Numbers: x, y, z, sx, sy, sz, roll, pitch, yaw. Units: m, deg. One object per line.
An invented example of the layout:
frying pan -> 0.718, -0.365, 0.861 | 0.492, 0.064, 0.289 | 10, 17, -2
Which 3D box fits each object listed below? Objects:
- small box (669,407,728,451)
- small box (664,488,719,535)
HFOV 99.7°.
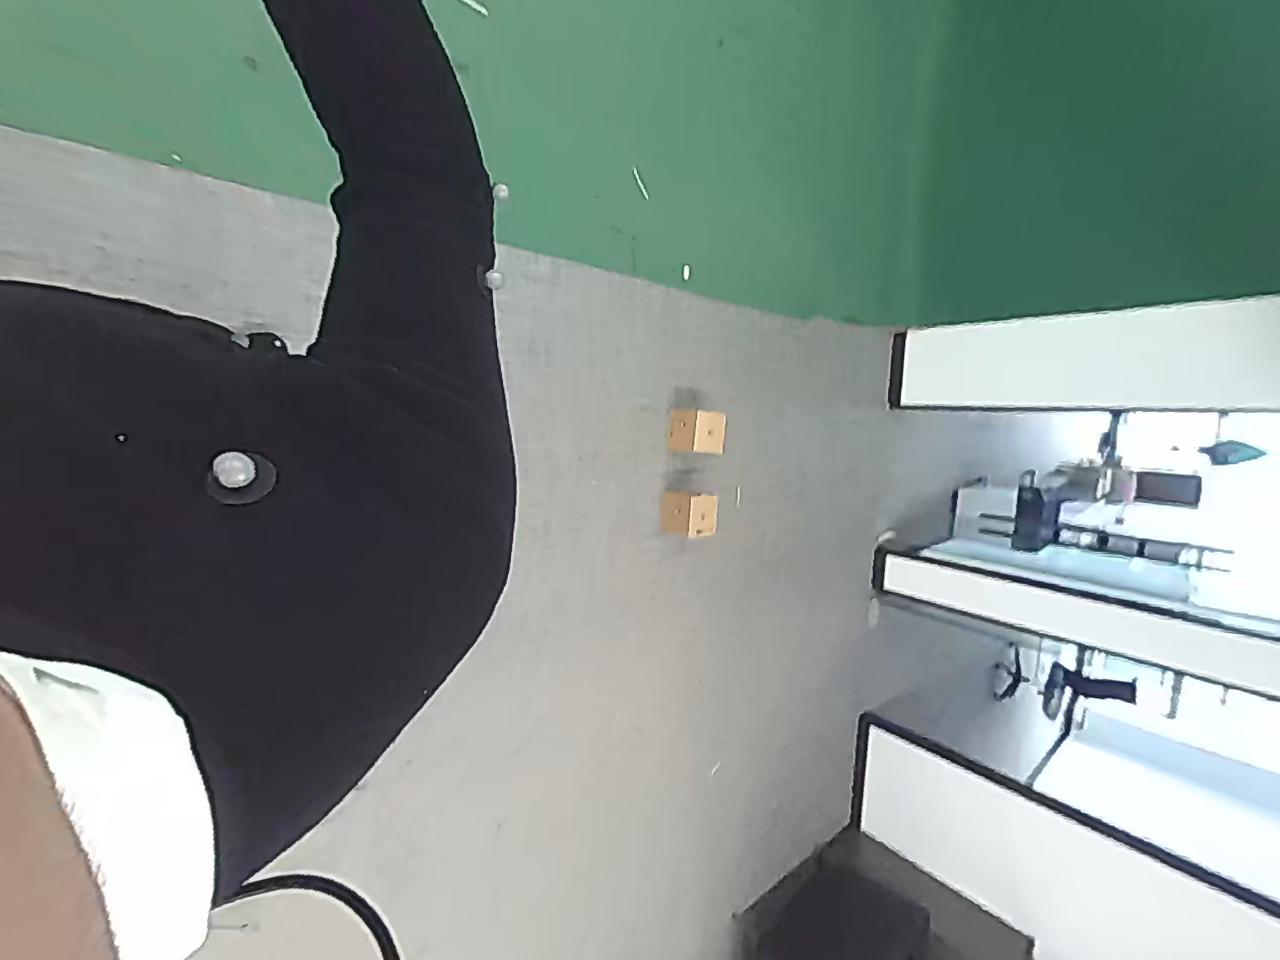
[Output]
small box -> 0.240, -0.213, 2.243 | 0.179, 0.176, 0.168 | 1, 97, -41
small box -> 0.215, 0.127, 2.276 | 0.168, 0.176, 0.179 | -3, 99, -40
